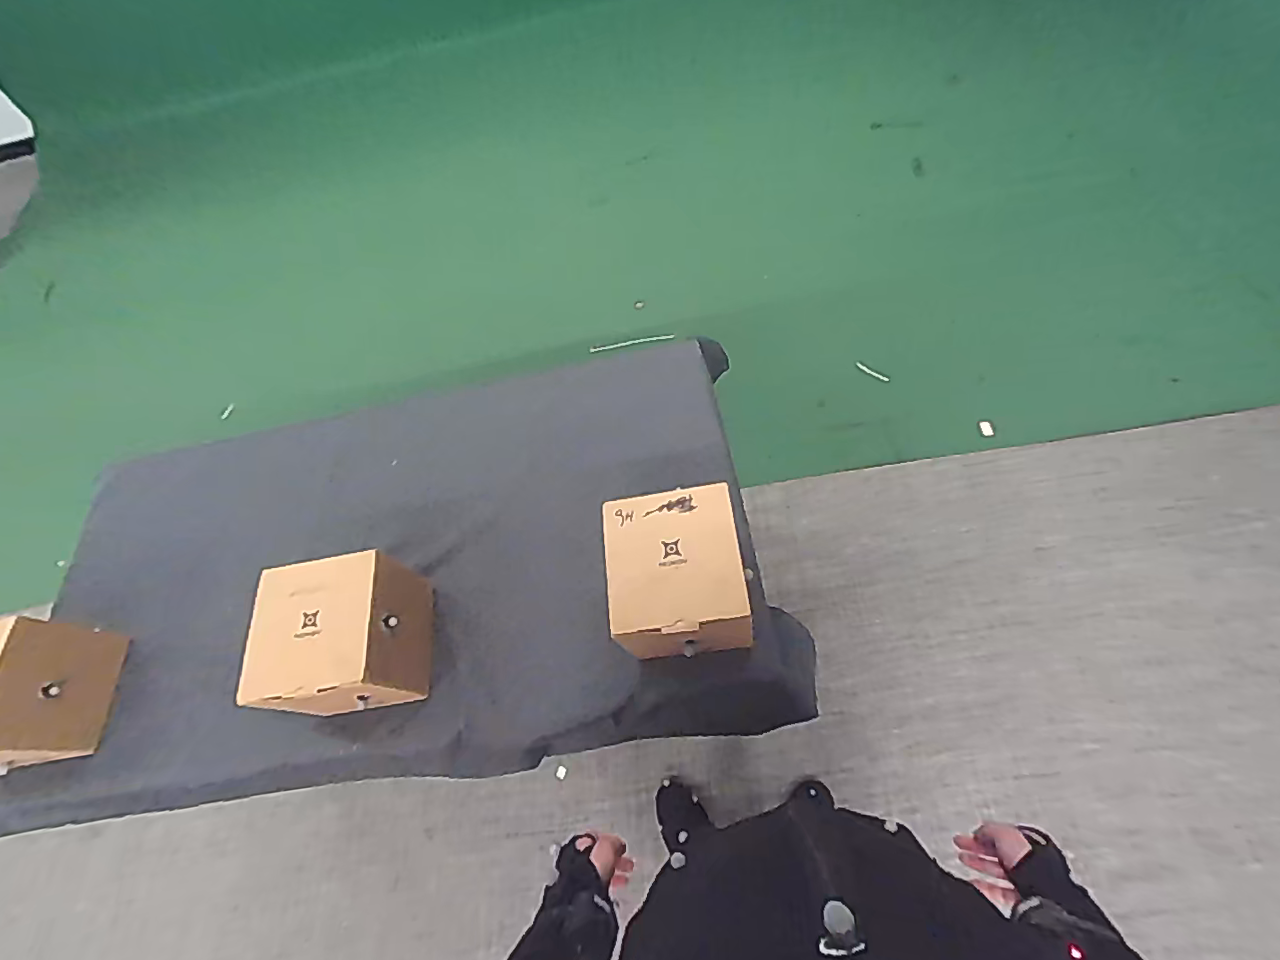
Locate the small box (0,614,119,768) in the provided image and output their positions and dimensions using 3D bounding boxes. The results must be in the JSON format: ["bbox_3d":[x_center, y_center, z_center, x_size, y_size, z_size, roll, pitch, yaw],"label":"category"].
[{"bbox_3d":[-0.924,0.310,0.781,0.168,0.176,0.179,-10,62,4],"label":"small box"}]

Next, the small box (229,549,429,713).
[{"bbox_3d":[-0.411,0.217,0.750,0.168,0.176,0.179,-10,60,2],"label":"small box"}]

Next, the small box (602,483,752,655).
[{"bbox_3d":[0.053,0.128,0.713,0.168,0.176,0.179,-9,61,7],"label":"small box"}]
